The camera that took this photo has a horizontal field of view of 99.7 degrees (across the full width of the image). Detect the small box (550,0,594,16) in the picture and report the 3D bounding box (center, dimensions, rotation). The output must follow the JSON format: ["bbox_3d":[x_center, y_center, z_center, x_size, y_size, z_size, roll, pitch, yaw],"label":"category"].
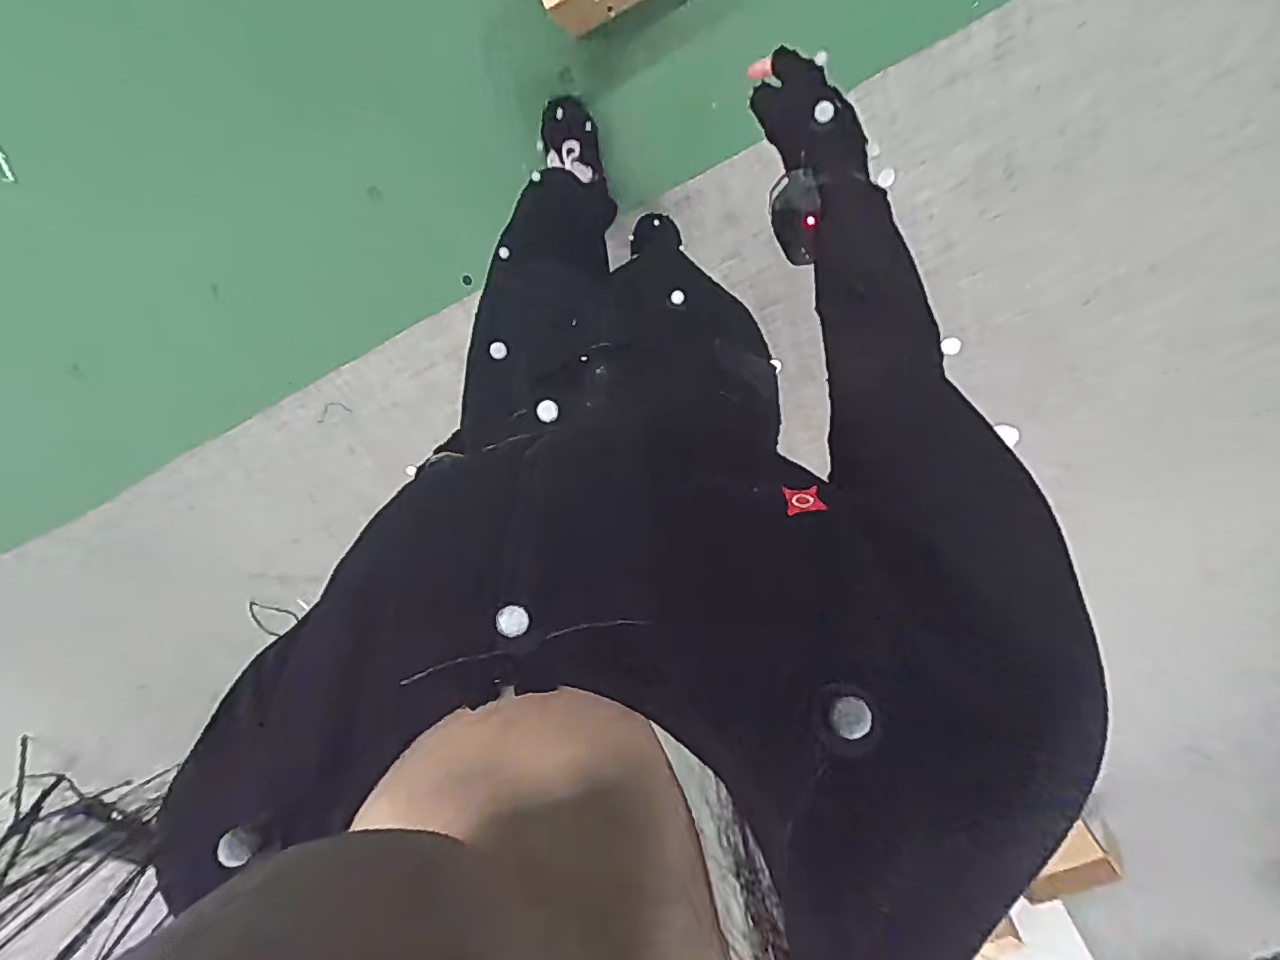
[{"bbox_3d":[-0.092,-0.843,0.810,0.179,0.176,0.168,-20,121,13],"label":"small box"}]

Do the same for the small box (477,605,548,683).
[{"bbox_3d":[-0.434,0.568,1.885,0.179,0.176,0.168,-27,120,16],"label":"small box"}]
